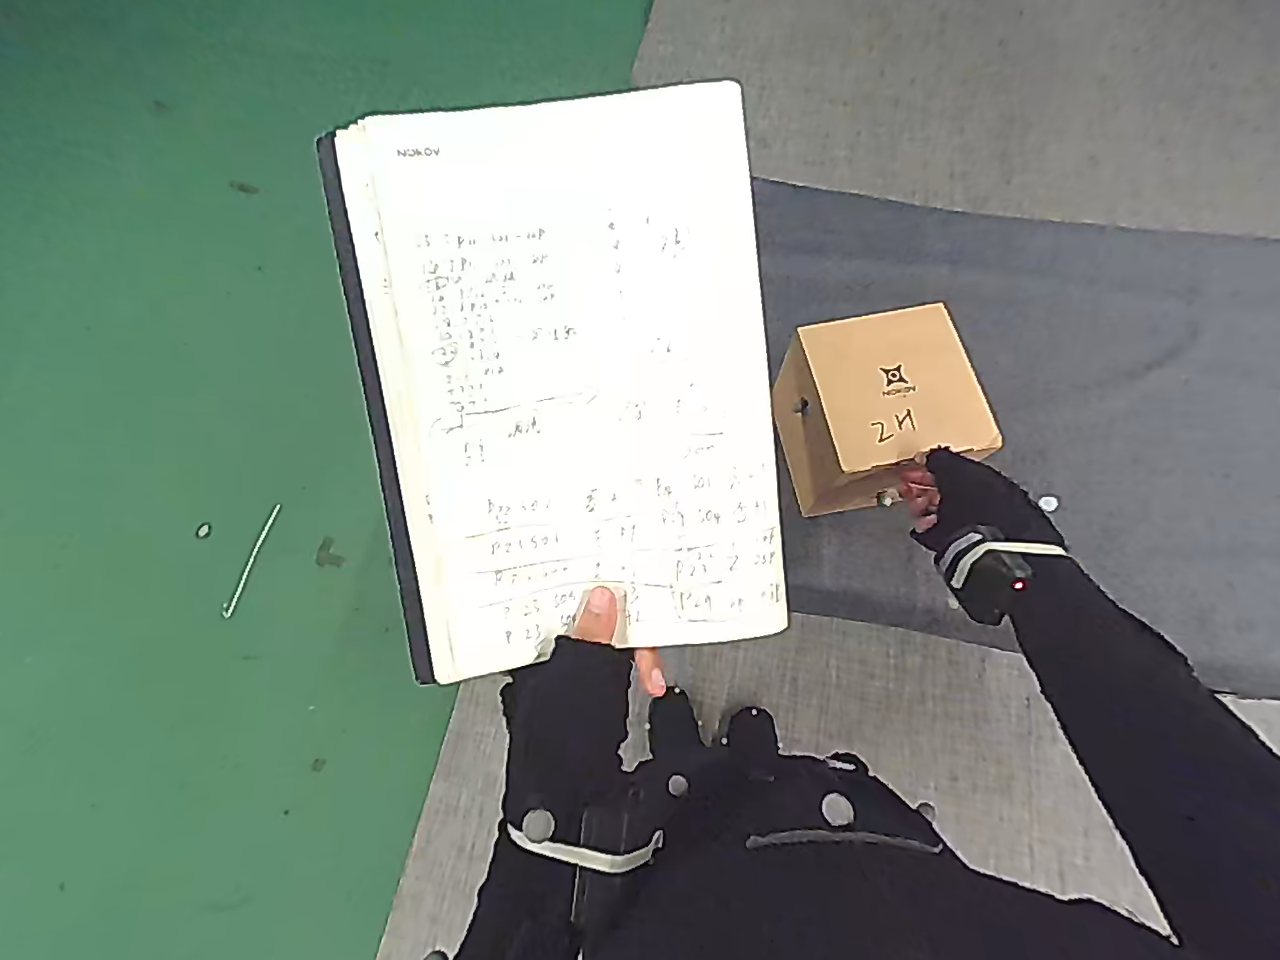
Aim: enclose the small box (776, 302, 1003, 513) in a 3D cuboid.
[{"bbox_3d":[0.272,-0.077,0.640,0.168,0.176,0.179,-10,70,0],"label":"small box"}]
